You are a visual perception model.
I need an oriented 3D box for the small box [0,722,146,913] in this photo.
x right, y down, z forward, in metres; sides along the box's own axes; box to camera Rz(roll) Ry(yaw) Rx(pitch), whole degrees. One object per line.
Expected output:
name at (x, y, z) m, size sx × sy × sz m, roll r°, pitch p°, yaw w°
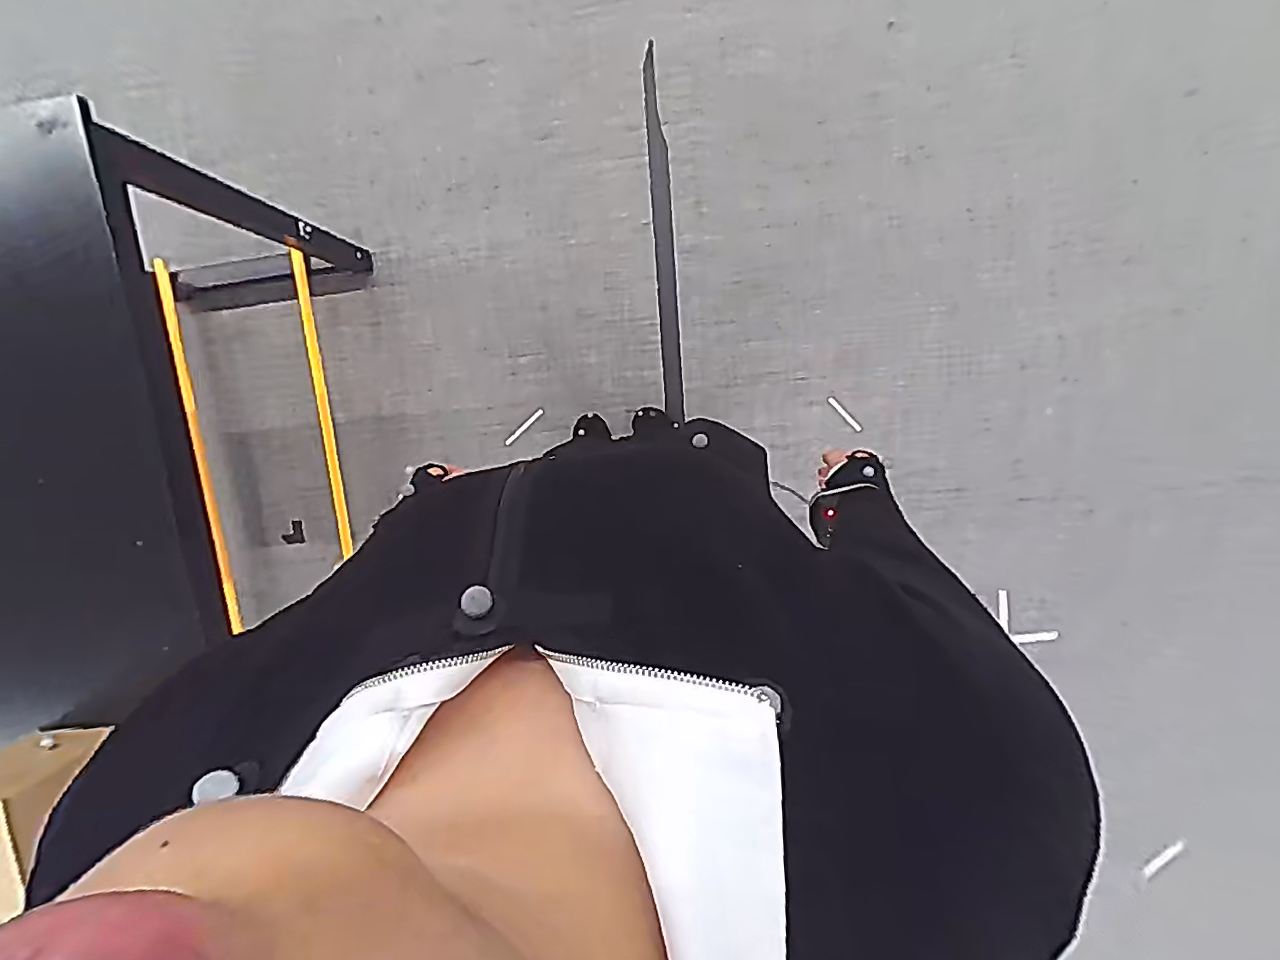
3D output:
small box at (-0.883, 0.484, 0.792) m, size 0.168 × 0.176 × 0.179 m, roll -5°, pitch 97°, yaw 4°
